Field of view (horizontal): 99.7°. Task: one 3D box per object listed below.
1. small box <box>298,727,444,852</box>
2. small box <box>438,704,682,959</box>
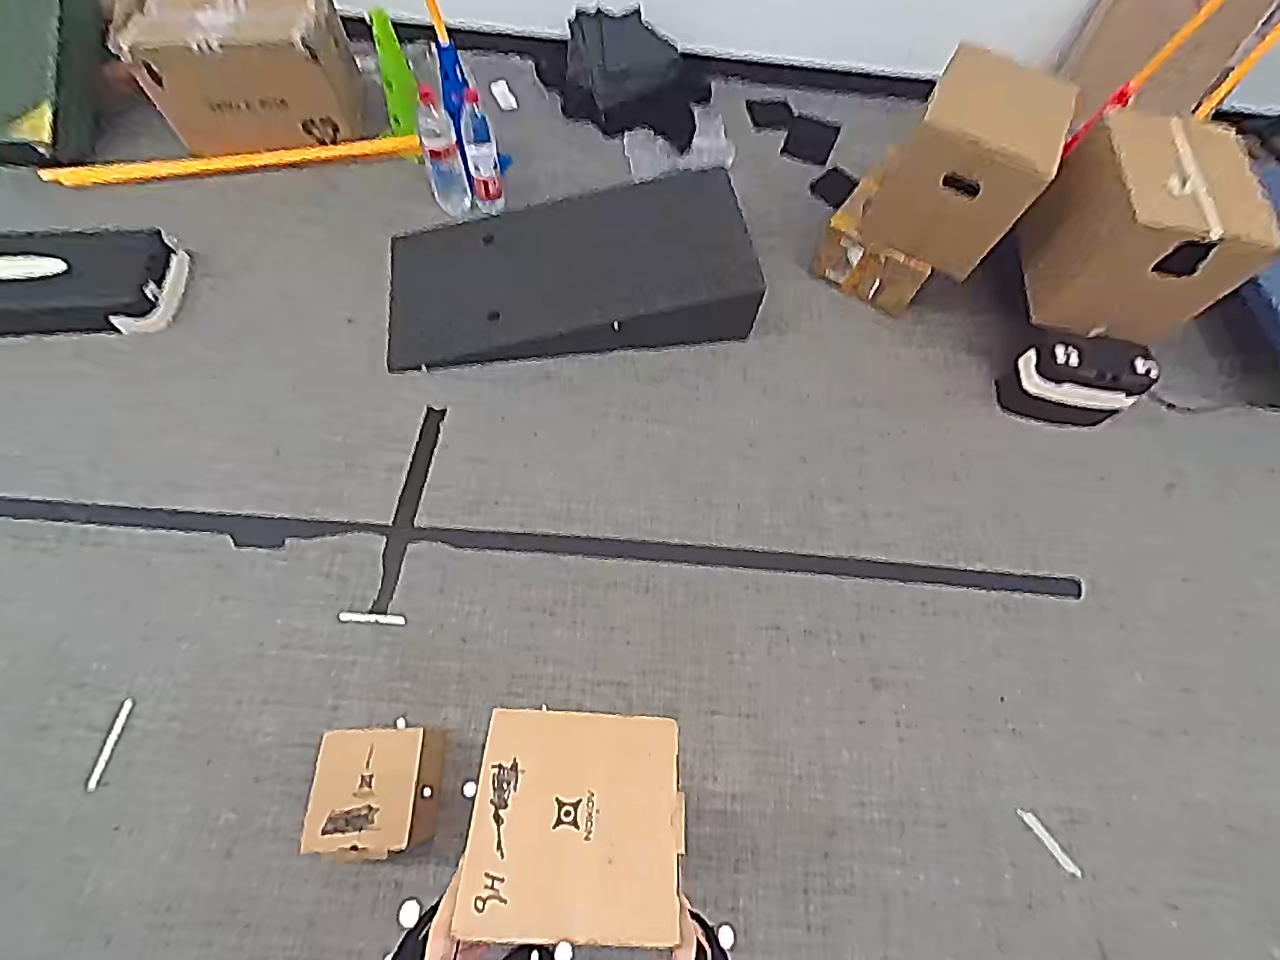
[{"bbox_3d":[-0.455,0.530,0.947,0.168,0.176,0.179,1,64,-4],"label":"small box"},{"bbox_3d":[-0.064,0.322,0.497,0.179,0.176,0.168,7,50,-4],"label":"small box"}]
